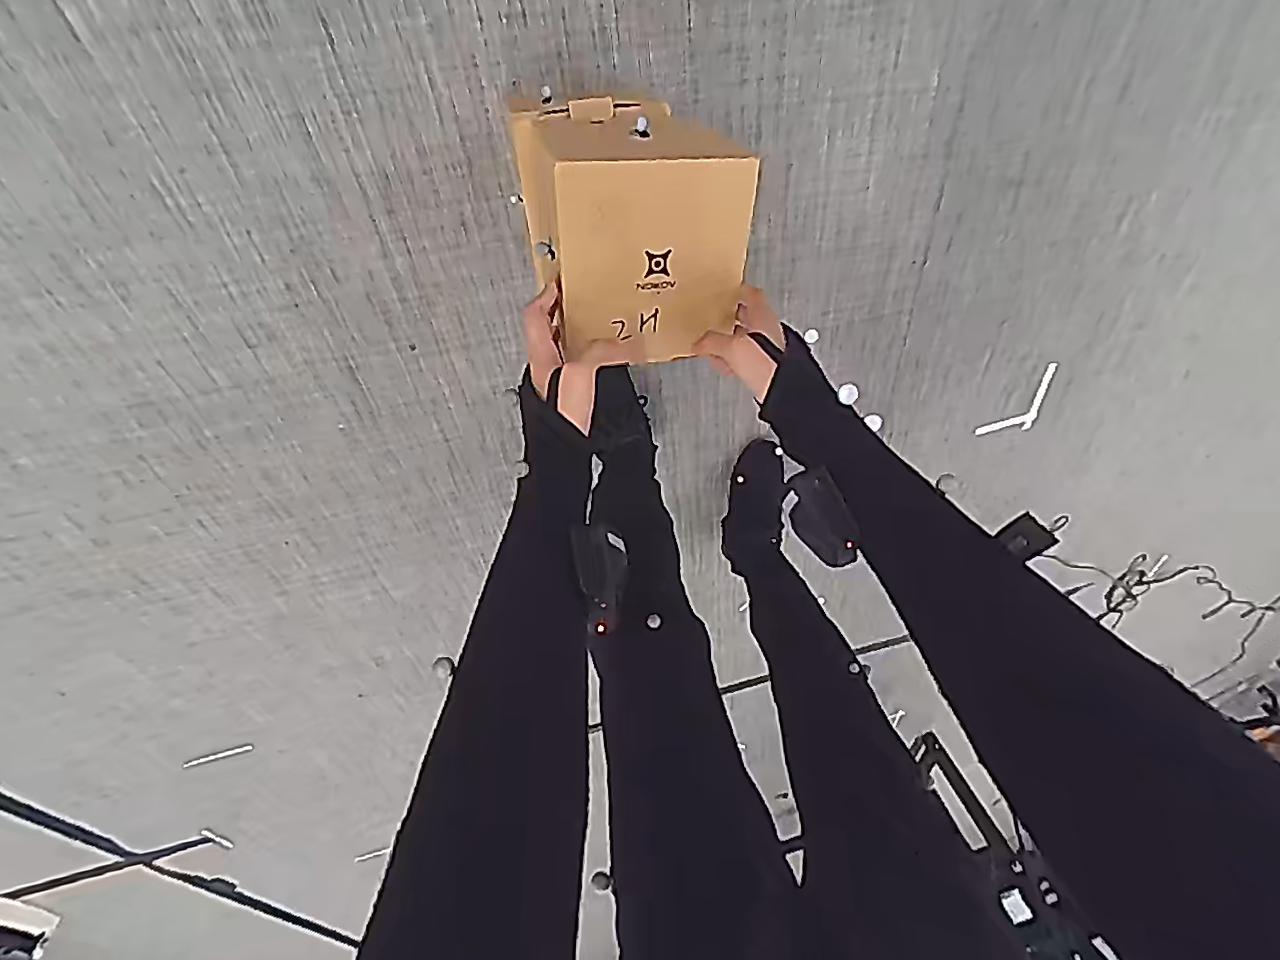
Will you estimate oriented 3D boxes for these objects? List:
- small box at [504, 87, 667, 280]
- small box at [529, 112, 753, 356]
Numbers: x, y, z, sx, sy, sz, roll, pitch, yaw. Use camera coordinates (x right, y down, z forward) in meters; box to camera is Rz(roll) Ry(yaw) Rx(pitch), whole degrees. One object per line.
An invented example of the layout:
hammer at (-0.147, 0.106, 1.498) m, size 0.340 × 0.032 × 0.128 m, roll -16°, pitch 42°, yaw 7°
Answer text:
small box at (-0.066, -0.364, 0.656) m, size 0.168 × 0.176 × 0.179 m, roll -10°, pitch 130°, yaw -8°
small box at (-0.011, -0.243, 0.525) m, size 0.168 × 0.176 × 0.179 m, roll -8°, pitch 133°, yaw -12°
